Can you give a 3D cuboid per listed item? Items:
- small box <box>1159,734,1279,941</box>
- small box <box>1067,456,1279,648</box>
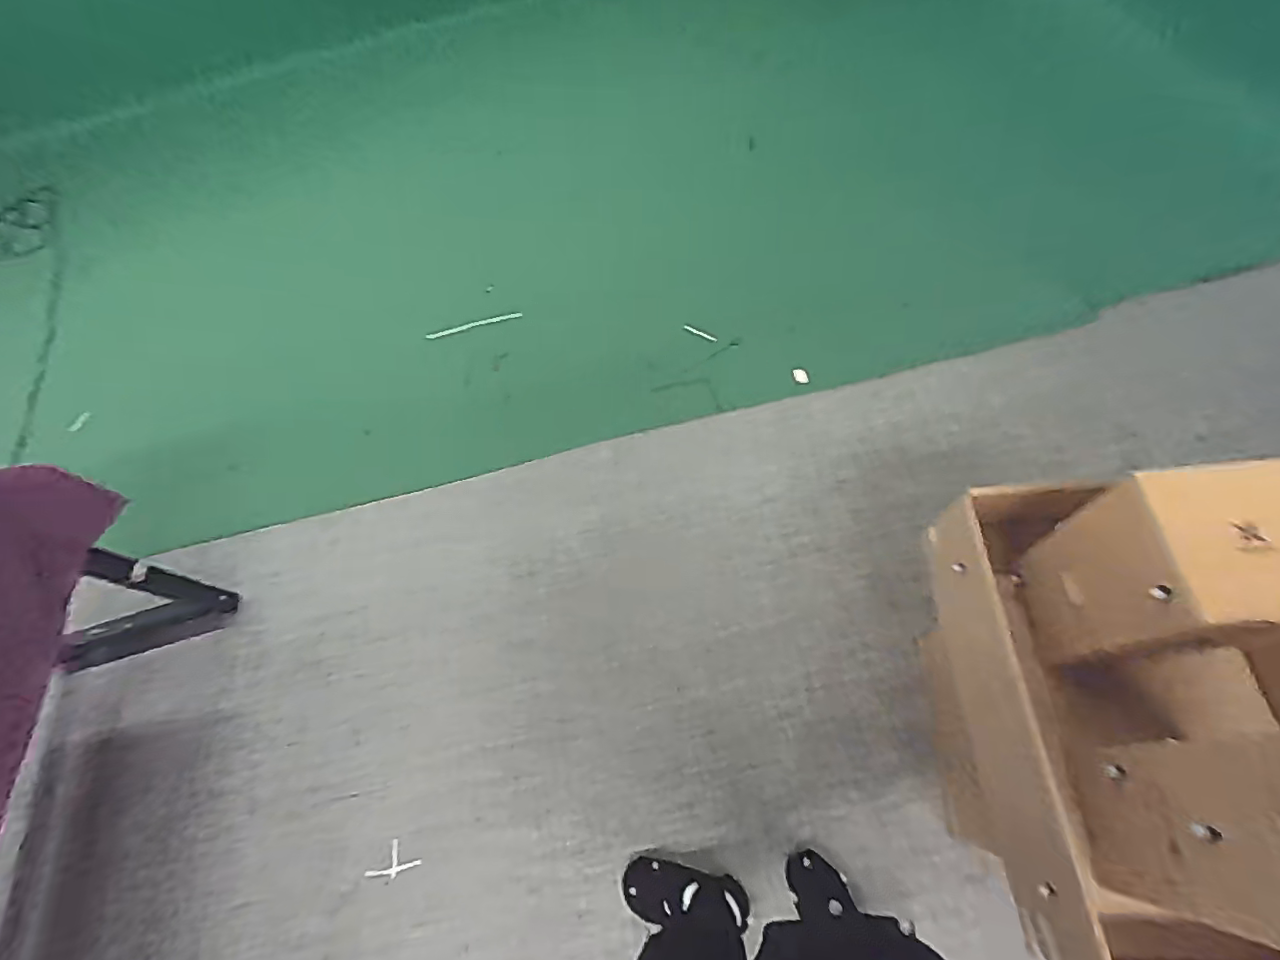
[{"bbox_3d":[0.648,0.342,0.508,0.179,0.176,0.168,1,63,12],"label":"small box"},{"bbox_3d":[0.658,0.092,0.638,0.168,0.176,0.179,-6,63,8],"label":"small box"}]
